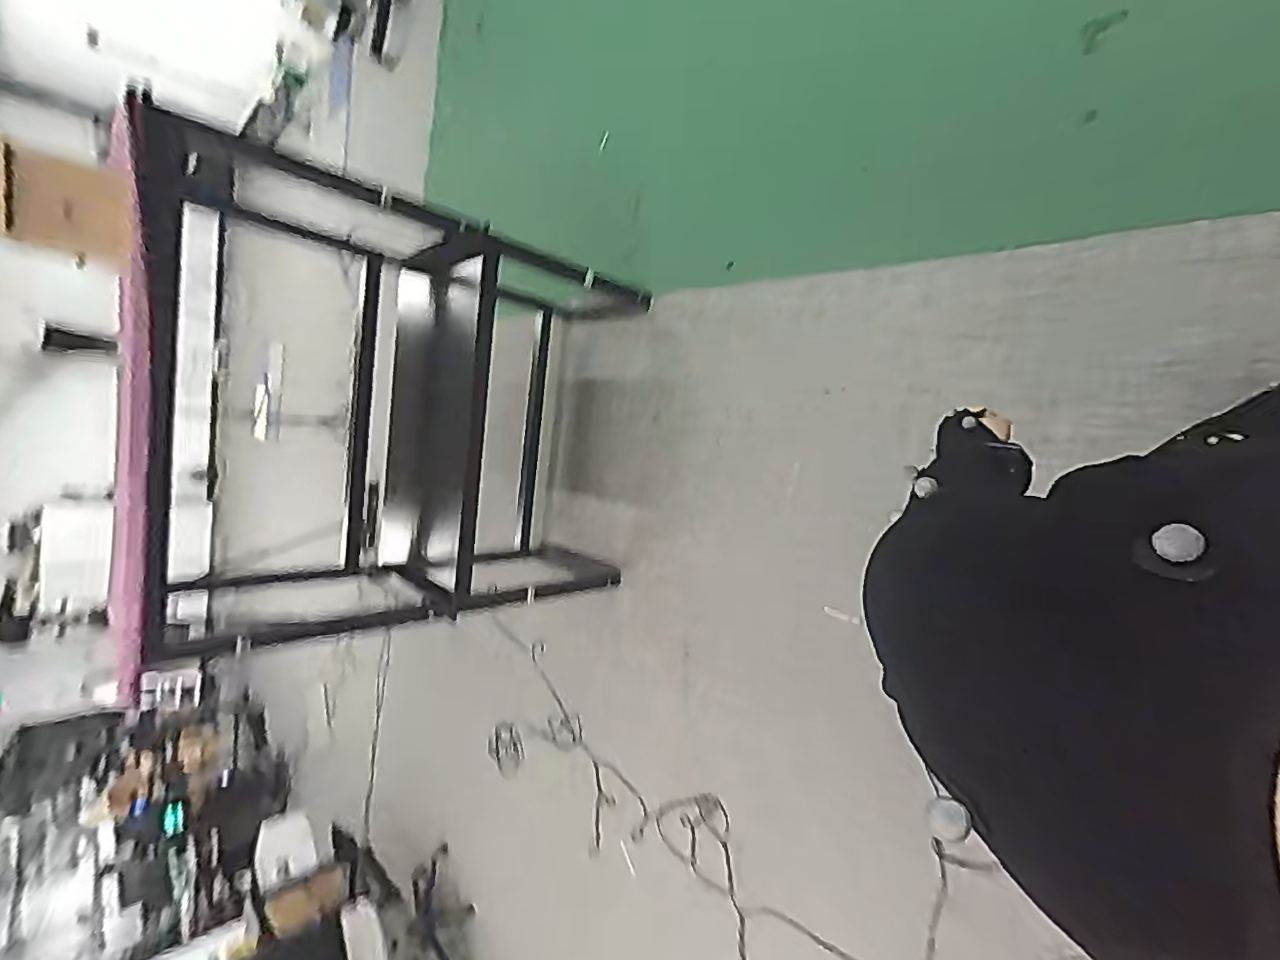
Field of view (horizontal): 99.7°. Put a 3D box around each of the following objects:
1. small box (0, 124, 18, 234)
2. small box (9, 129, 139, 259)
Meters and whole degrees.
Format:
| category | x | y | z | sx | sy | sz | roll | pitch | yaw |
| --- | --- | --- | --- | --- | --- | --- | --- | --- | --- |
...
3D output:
| category | x | y | z | sx | sy | sz | roll | pitch | yaw |
| --- | --- | --- | --- | --- | --- | --- | --- | --- | --- |
| small box | -1.234 | -0.556 | 0.965 | 0.168 | 0.176 | 0.179 | 12 | 99 | 46 |
| small box | -1.125 | -0.557 | 1.087 | 0.168 | 0.176 | 0.179 | 12 | 99 | 45 |
